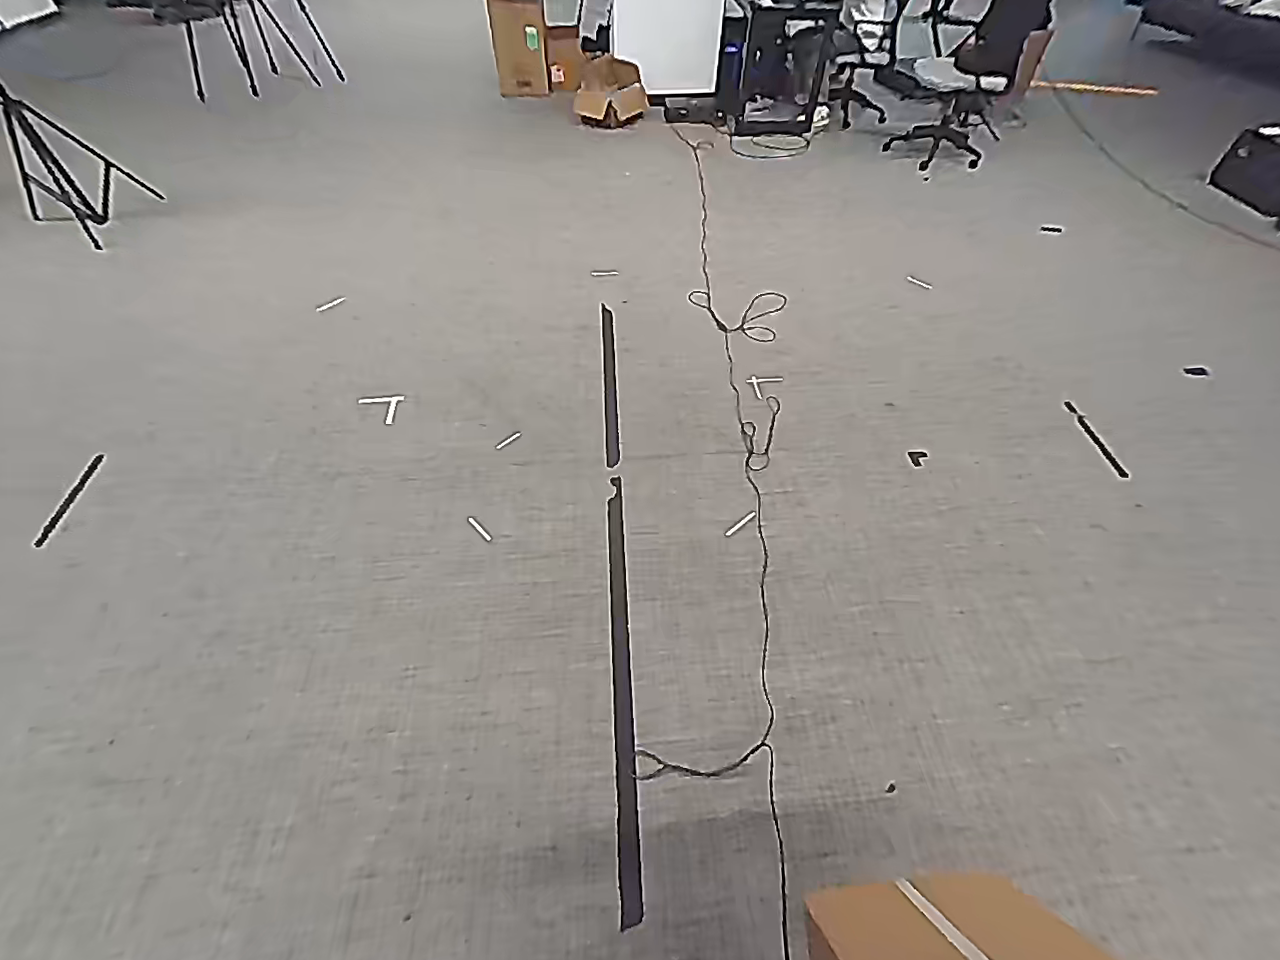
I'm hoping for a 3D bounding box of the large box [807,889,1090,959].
[{"bbox_3d":[0.422,0.746,0.606,0.320,0.408,0.320,-4,78,-4],"label":"large box"}]
